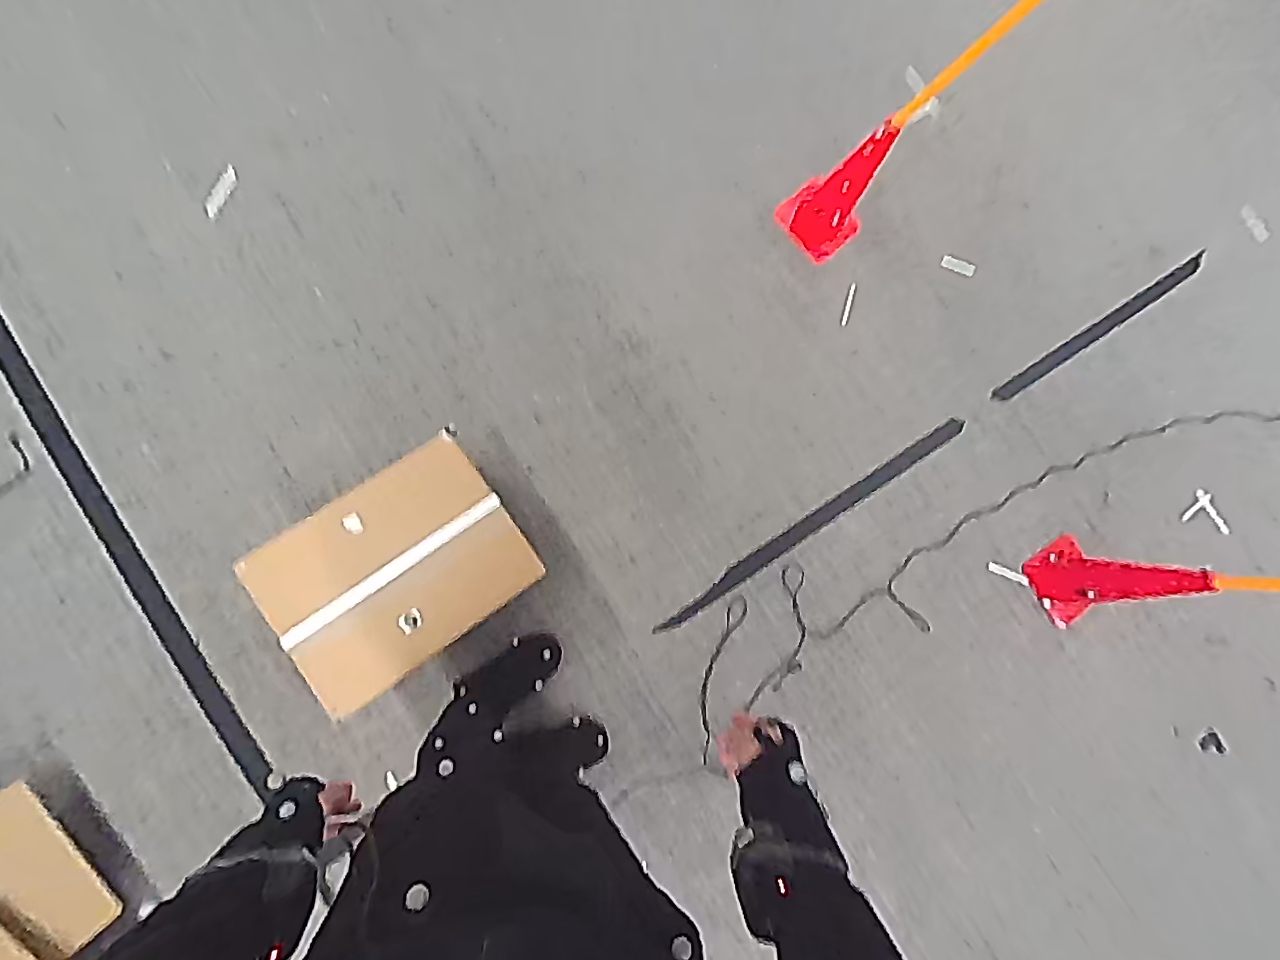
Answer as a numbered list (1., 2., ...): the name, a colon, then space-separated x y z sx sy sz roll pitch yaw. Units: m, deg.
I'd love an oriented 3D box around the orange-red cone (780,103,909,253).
1. orange-red cone: 0.536 -0.775 1.342 0.198 0.360 0.199 -41 89 -14
